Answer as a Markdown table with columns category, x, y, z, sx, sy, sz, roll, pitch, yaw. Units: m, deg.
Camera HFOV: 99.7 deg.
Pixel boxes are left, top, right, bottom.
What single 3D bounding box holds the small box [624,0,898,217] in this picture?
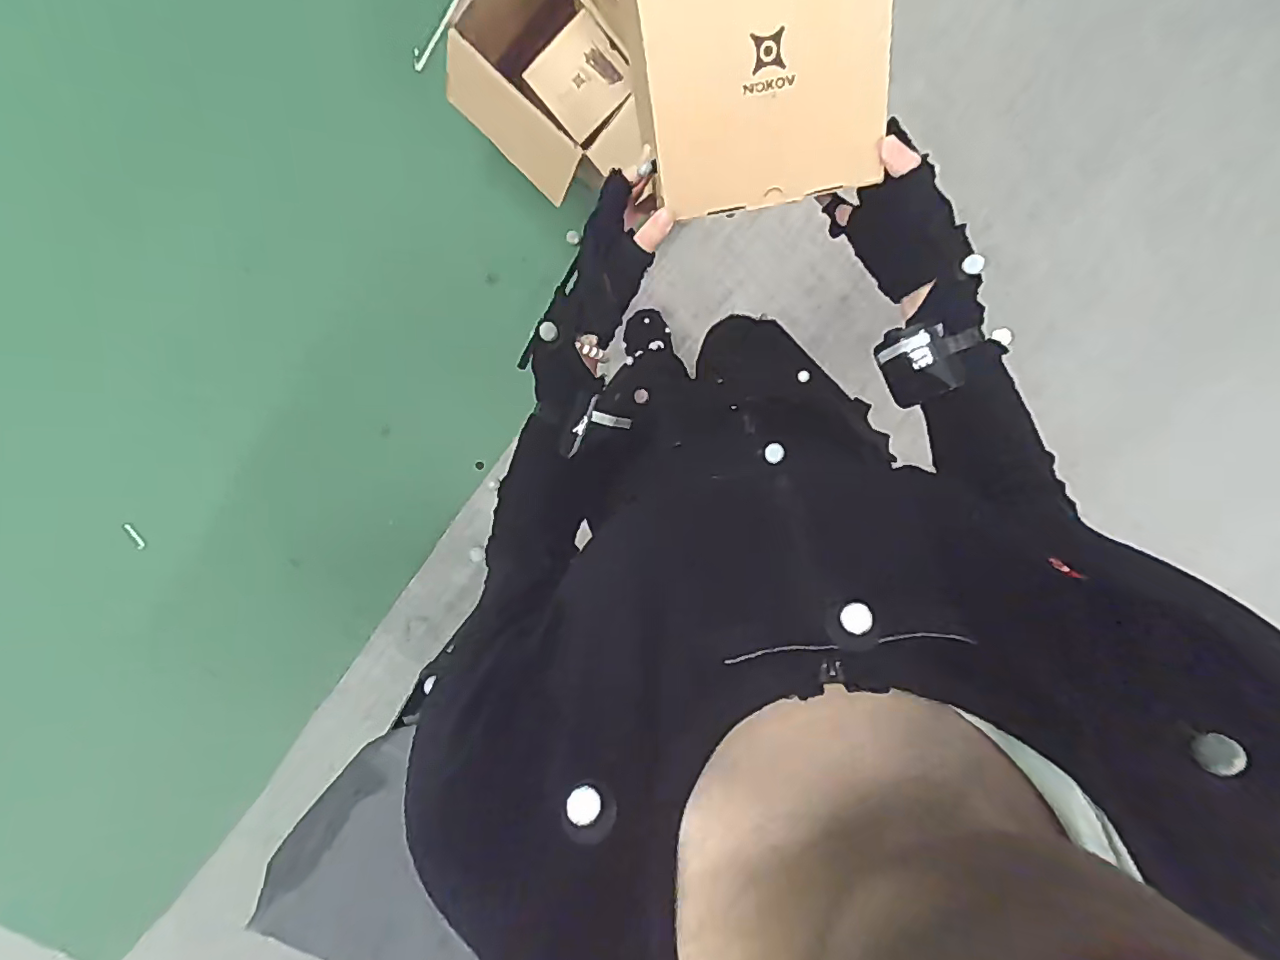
| category | x | y | z | sx | sy | sz | roll | pitch | yaw |
| --- | --- | --- | --- | --- | --- | --- | --- | --- | --- |
| small box | 0.084 | -0.324 | 0.431 | 0.168 | 0.176 | 0.179 | -11 | 121 | 2 |
